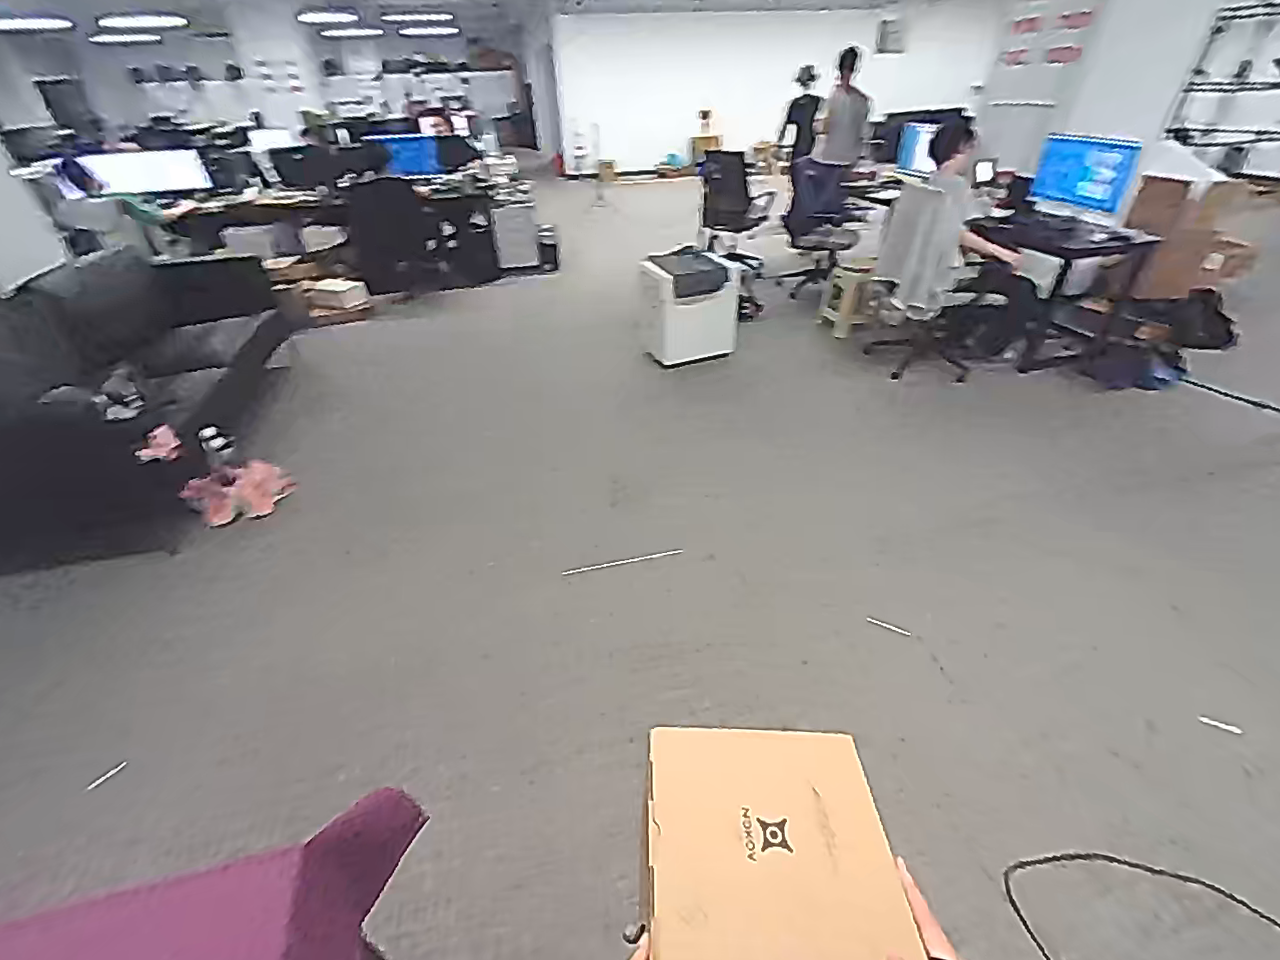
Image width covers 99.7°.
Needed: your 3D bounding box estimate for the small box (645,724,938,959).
[{"bbox_3d":[0.095,0.322,0.429,0.179,0.176,0.168,4,32,0],"label":"small box"}]
